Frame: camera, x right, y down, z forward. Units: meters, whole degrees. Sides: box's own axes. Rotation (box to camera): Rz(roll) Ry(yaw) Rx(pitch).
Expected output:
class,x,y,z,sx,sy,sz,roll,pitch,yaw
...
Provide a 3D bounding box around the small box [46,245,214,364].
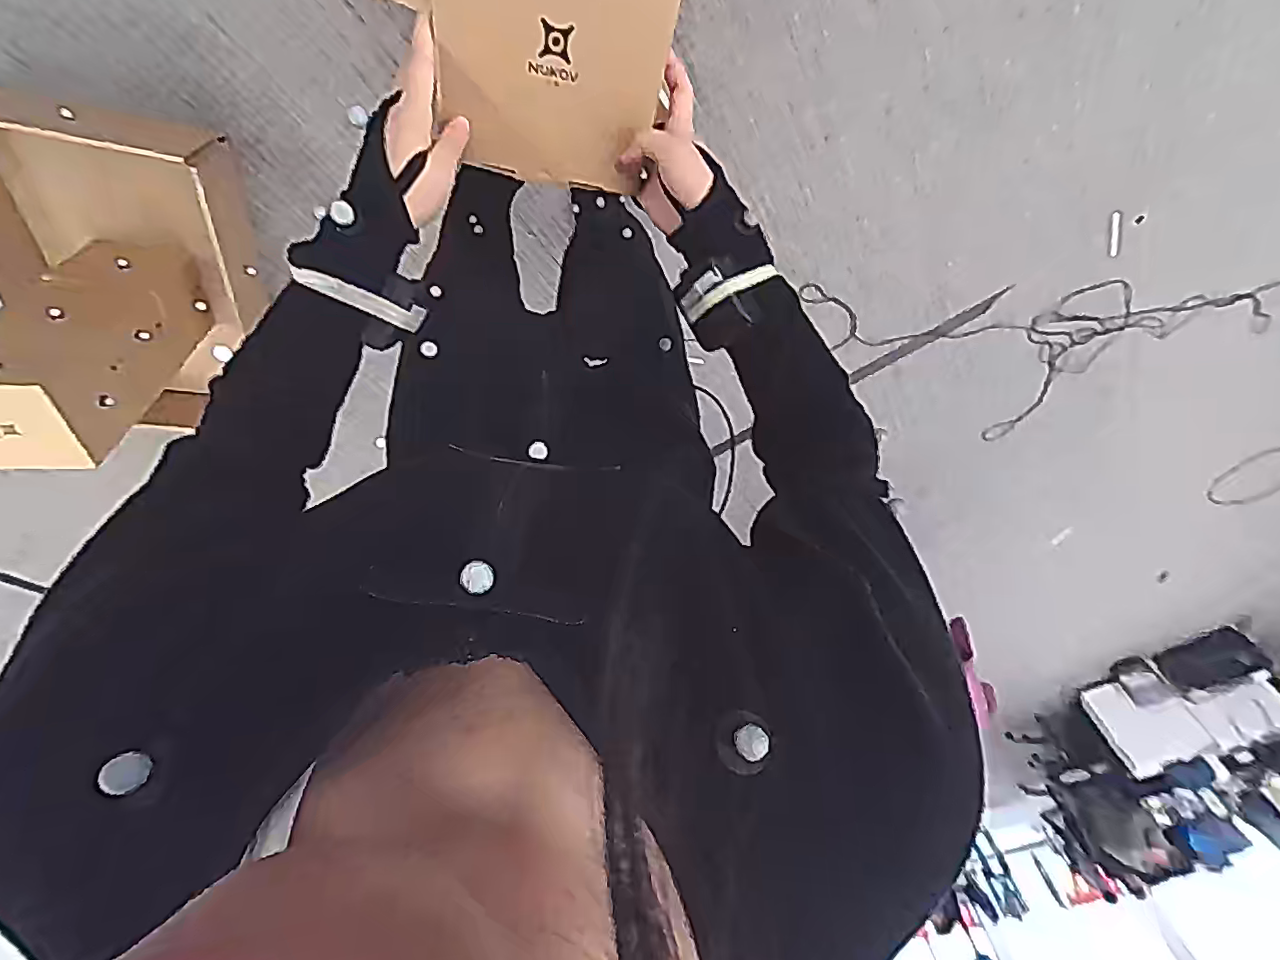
class,x,y,z,sx,sy,sz,roll,pitch,yaw
small box,-1.024,-0.361,1.108,0.179,0.176,0.168,3,134,-16

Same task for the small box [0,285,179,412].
class,x,y,z,sx,sy,sz,roll,pitch,yaw
small box,-1.003,-0.244,0.999,0.179,0.176,0.168,1,133,-12

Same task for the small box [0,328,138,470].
class,x,y,z,sx,sy,sz,roll,pitch,yaw
small box,-0.974,-0.133,0.879,0.179,0.176,0.168,0,133,-13

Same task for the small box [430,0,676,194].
class,x,y,z,sx,sy,sz,roll,pitch,yaw
small box,-0.073,-0.374,0.441,0.168,0.176,0.179,3,143,-15
